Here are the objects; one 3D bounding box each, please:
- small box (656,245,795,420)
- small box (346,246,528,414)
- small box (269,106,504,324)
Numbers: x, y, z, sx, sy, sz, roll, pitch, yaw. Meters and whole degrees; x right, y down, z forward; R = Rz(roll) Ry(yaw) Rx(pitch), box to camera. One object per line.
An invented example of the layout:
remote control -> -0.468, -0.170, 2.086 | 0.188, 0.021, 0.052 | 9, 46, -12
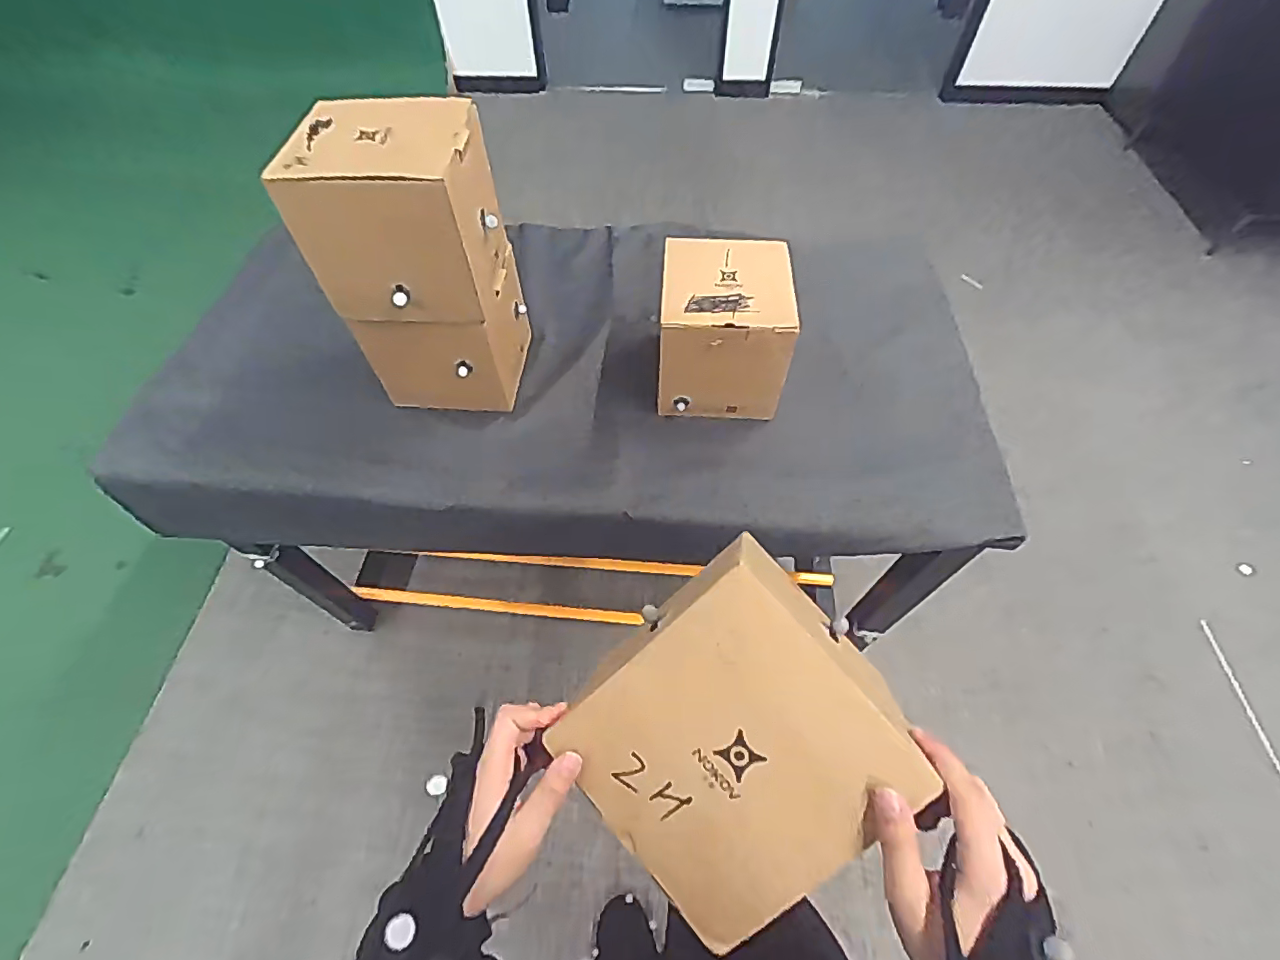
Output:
small box -> 0.109, -0.201, 0.755 | 0.168, 0.176, 0.179 | 3, 55, 2
small box -> -0.264, -0.208, 0.760 | 0.179, 0.176, 0.168 | 3, 55, 2
small box -> -0.264, -0.296, 0.620 | 0.179, 0.176, 0.168 | 1, 55, 0
